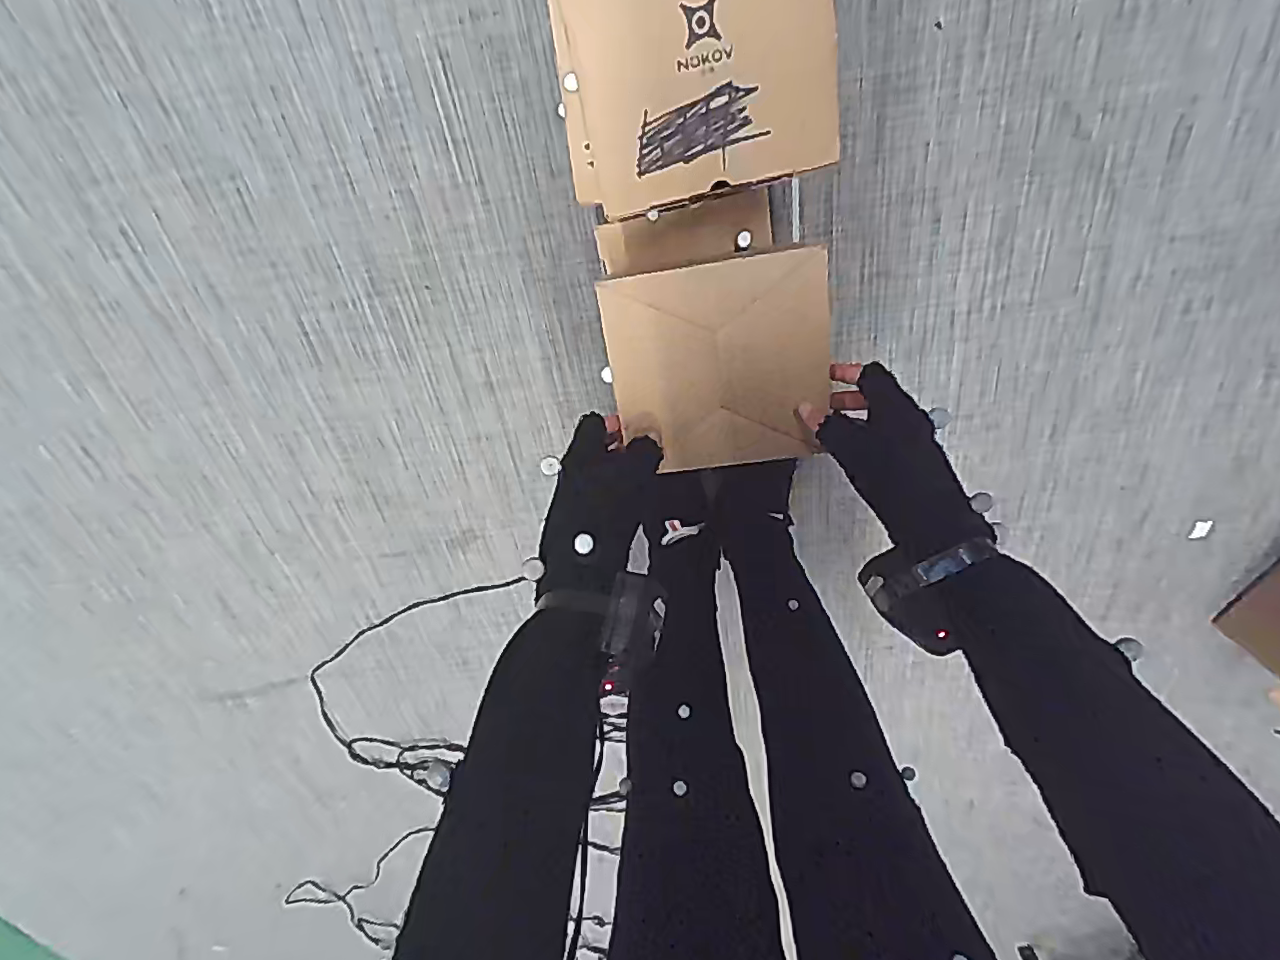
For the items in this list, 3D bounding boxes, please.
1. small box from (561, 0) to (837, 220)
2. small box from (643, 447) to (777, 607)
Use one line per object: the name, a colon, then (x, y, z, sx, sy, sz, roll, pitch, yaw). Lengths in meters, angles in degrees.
small box: (0.041, -0.312, 0.409, 0.168, 0.176, 0.179, -10, 117, 7)
small box: (0.098, 0.068, 0.841, 0.168, 0.176, 0.179, -7, 123, -6)
